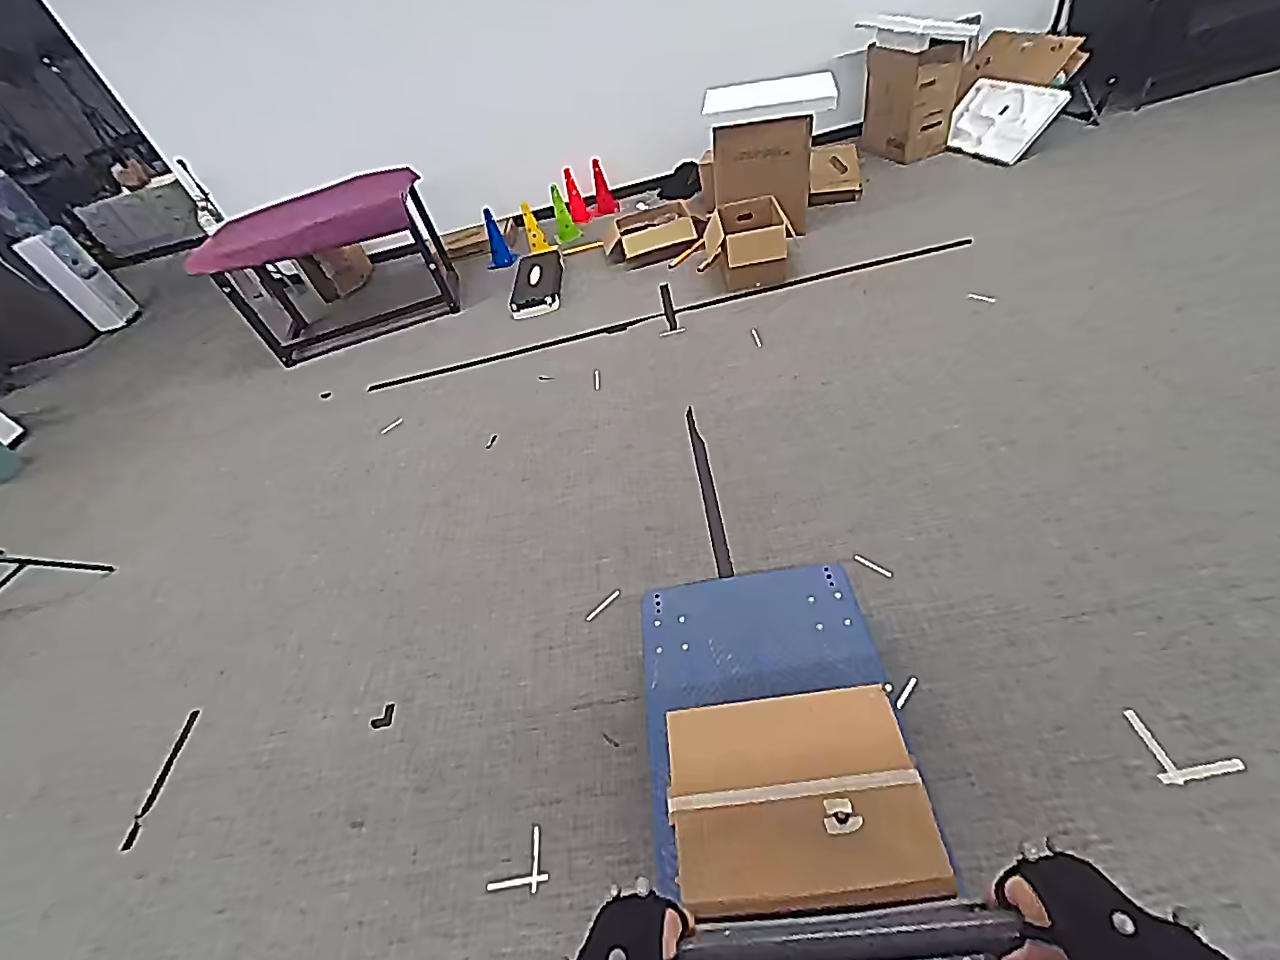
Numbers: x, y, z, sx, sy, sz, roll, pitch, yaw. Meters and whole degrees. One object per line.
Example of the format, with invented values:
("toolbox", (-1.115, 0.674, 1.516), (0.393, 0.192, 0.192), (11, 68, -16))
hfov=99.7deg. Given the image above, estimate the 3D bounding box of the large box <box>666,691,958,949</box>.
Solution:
("large box", (0.279, 0.627, 0.990), (0.408, 0.320, 0.320), (-10, 46, 6))
